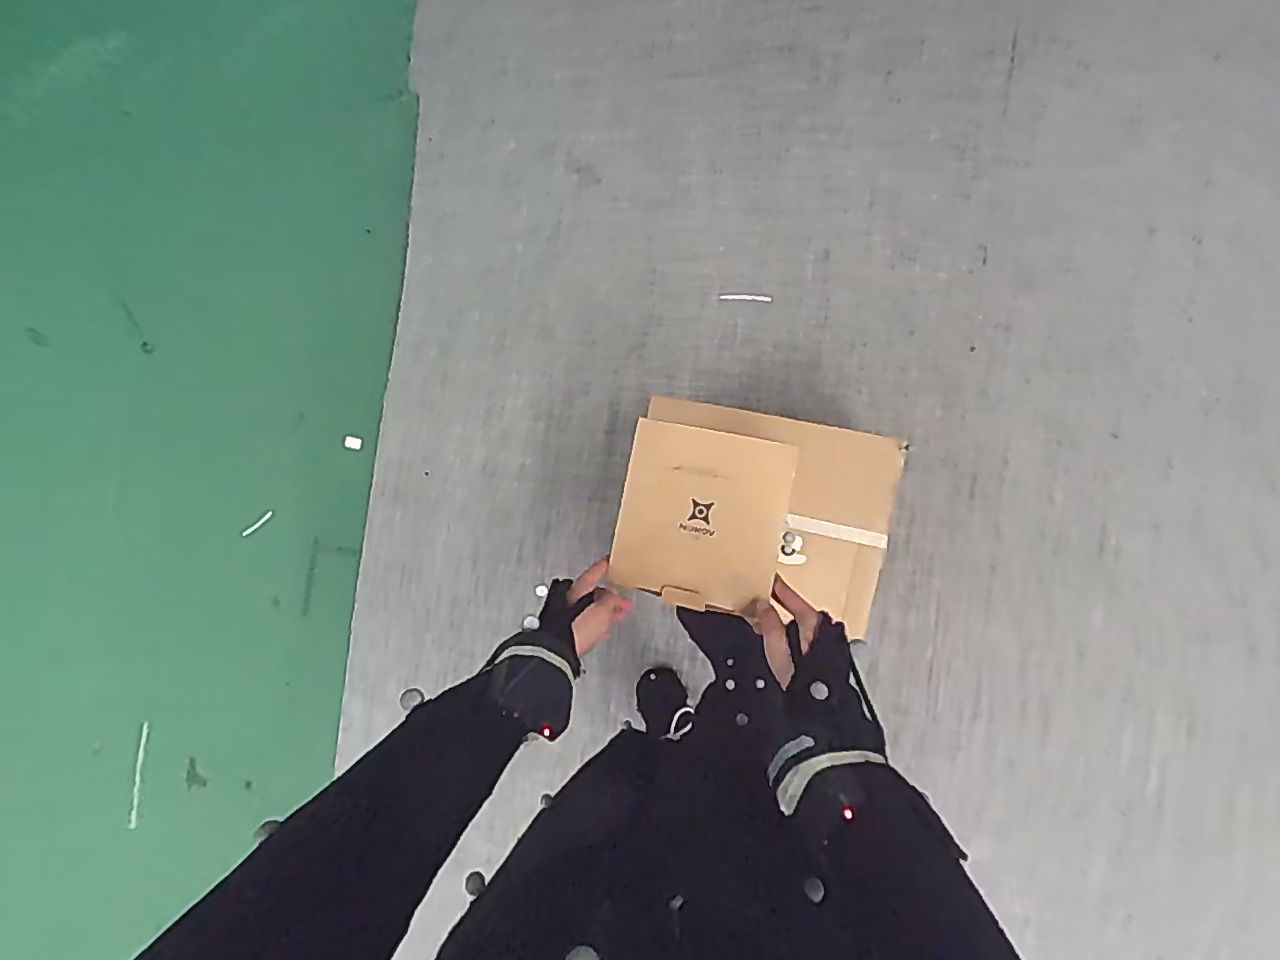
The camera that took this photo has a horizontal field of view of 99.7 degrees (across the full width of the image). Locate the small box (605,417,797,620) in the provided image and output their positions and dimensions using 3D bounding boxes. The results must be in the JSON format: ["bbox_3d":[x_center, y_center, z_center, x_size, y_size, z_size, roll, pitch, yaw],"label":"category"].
[{"bbox_3d":[0.074,0.040,0.614,0.168,0.176,0.179,11,88,11],"label":"small box"}]

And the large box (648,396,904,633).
[{"bbox_3d":[0.211,0.051,1.003,0.408,0.320,0.320,12,92,13],"label":"large box"}]
